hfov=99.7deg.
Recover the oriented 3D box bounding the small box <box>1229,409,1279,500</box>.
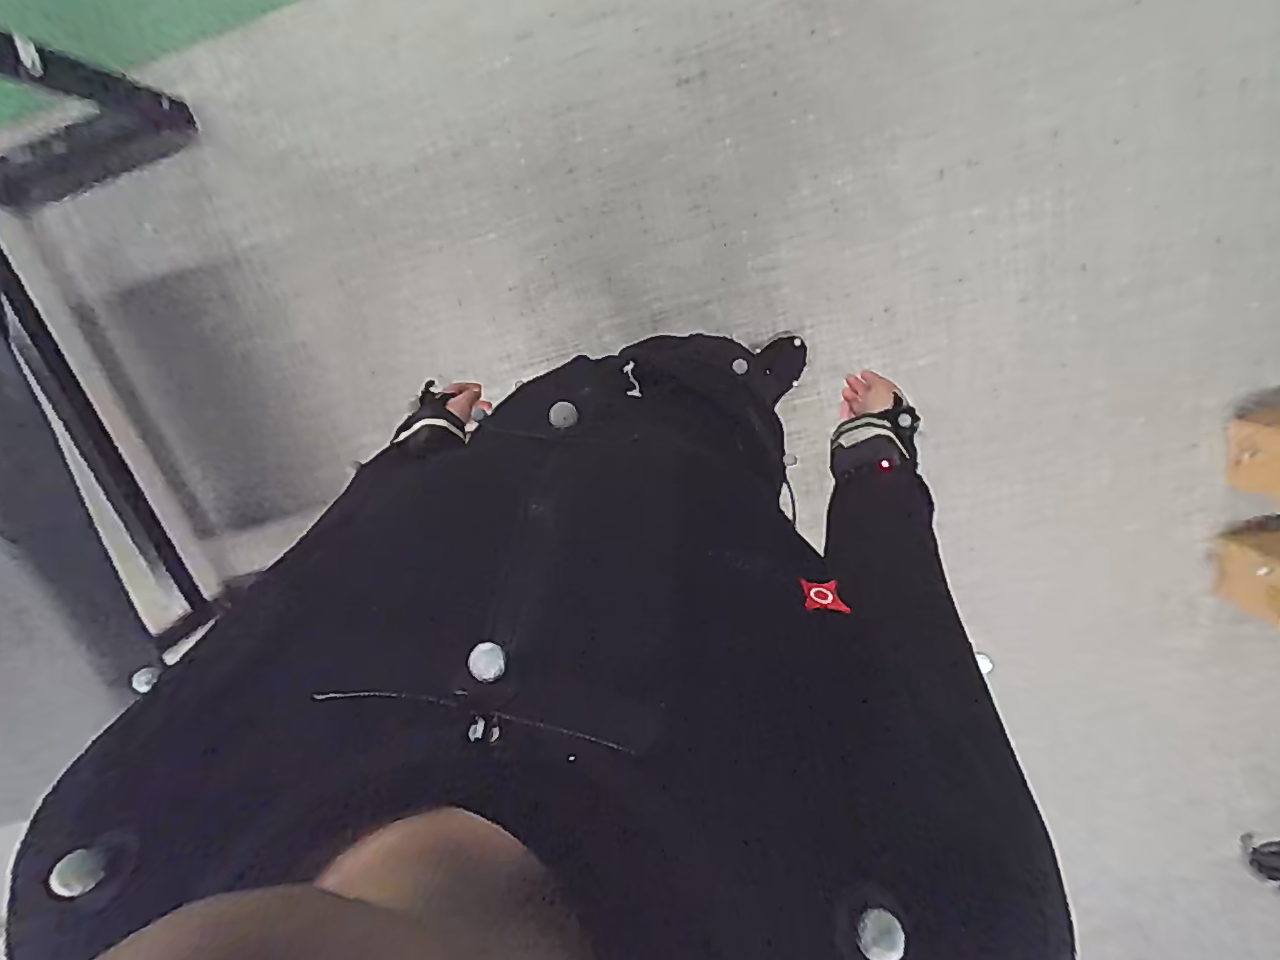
[{"bbox_3d":[1.438,-0.060,1.154,0.179,0.176,0.168,-15,107,10],"label":"small box"}]
